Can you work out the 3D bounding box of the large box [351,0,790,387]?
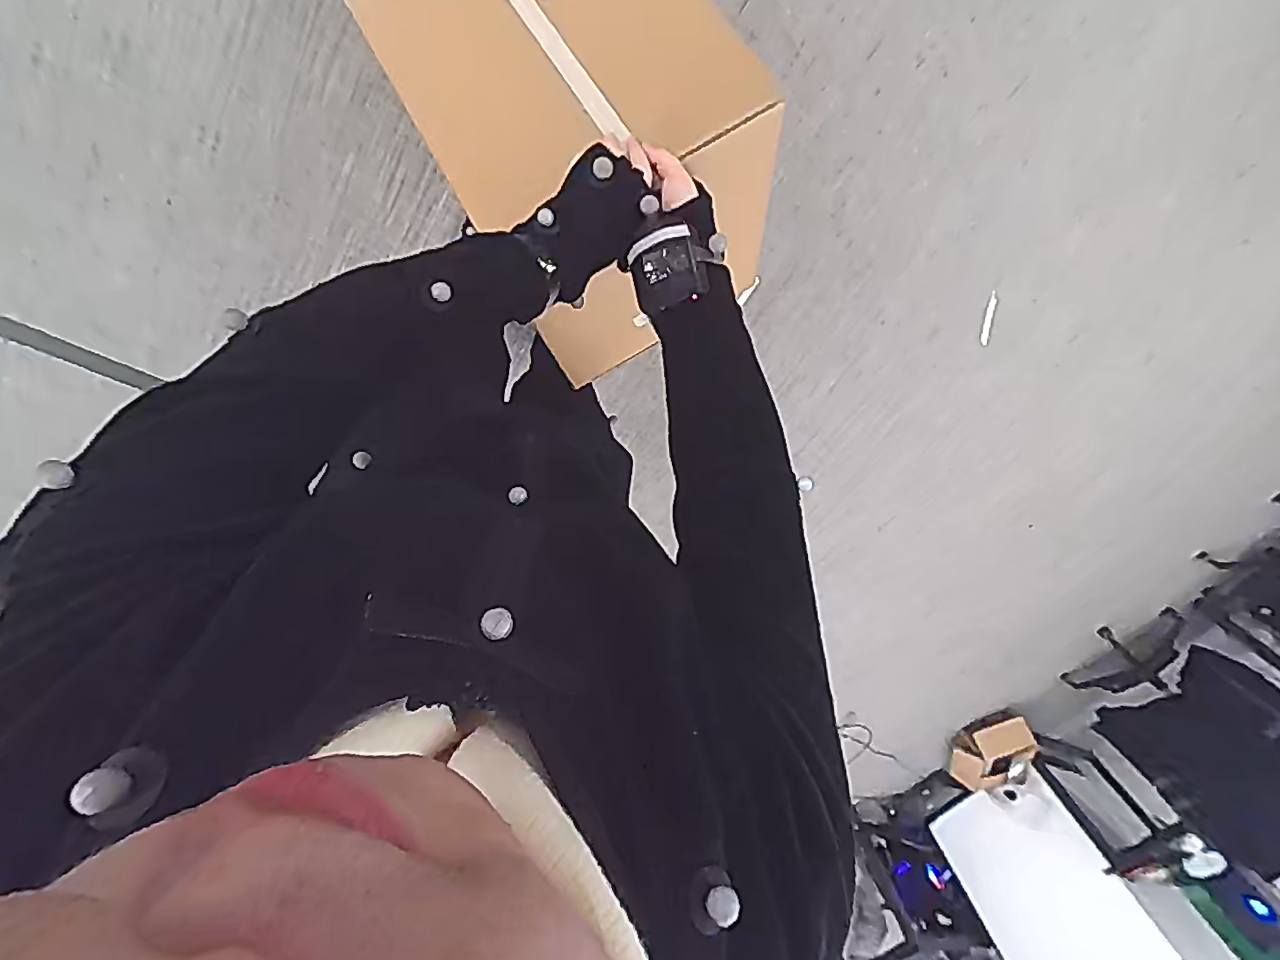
[{"bbox_3d":[-0.069,-0.401,0.687,0.320,0.408,0.320,-31,165,-1],"label":"large box"}]
